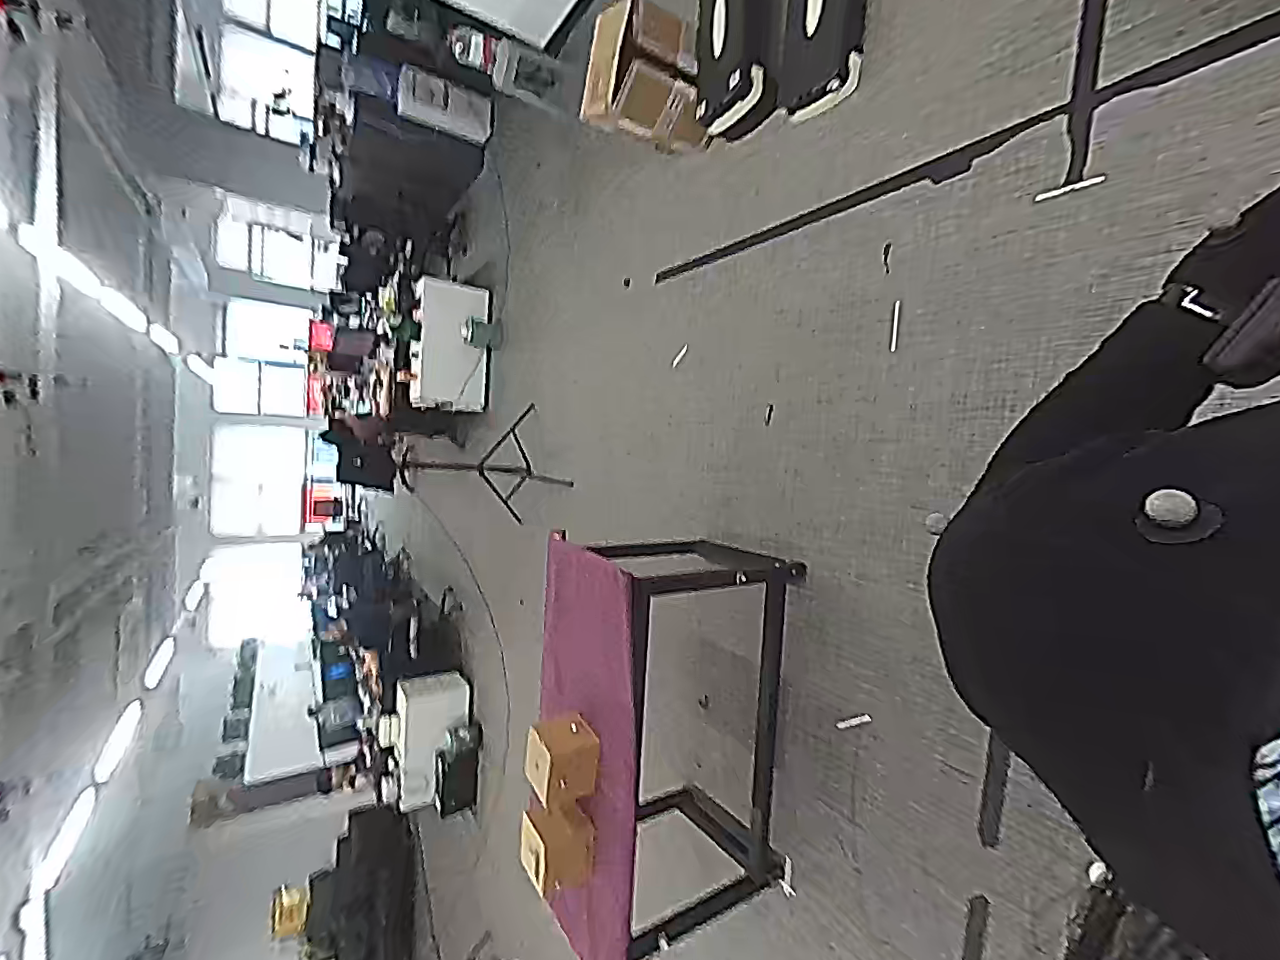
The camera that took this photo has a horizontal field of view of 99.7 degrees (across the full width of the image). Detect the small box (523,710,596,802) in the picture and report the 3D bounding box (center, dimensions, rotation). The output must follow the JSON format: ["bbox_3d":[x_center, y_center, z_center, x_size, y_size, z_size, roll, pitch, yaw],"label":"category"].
[{"bbox_3d":[-0.249,0.847,1.676,0.168,0.176,0.179,22,106,54],"label":"small box"}]
